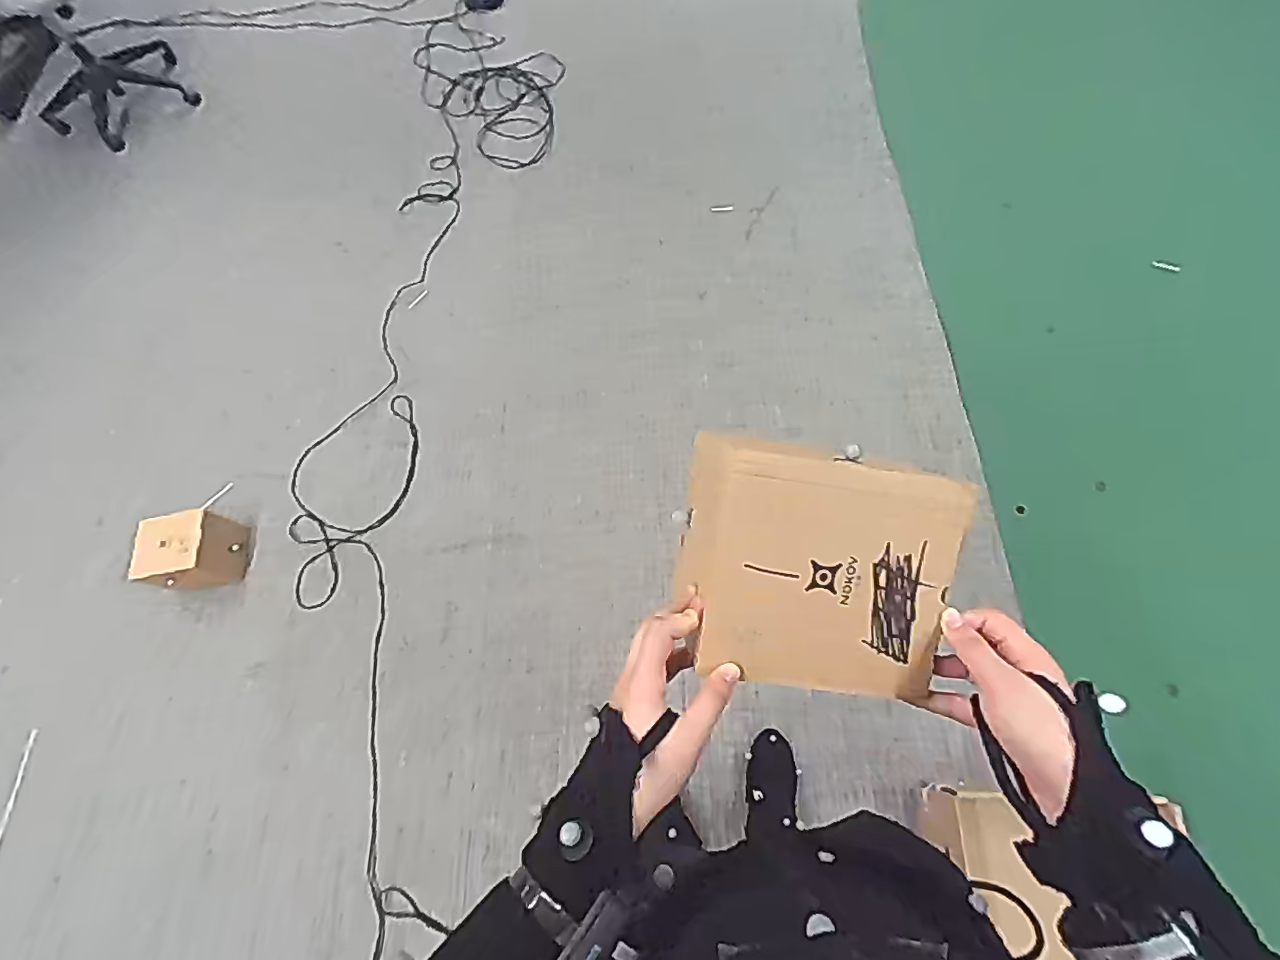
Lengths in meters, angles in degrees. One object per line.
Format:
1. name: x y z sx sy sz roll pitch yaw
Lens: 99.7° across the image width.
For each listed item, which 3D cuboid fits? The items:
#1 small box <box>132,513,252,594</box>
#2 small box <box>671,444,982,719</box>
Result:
1. small box: -1.211 0.206 1.474 0.179 0.176 0.168 -11 67 0
2. small box: 0.129 0.066 0.445 0.179 0.176 0.168 8 98 -2
